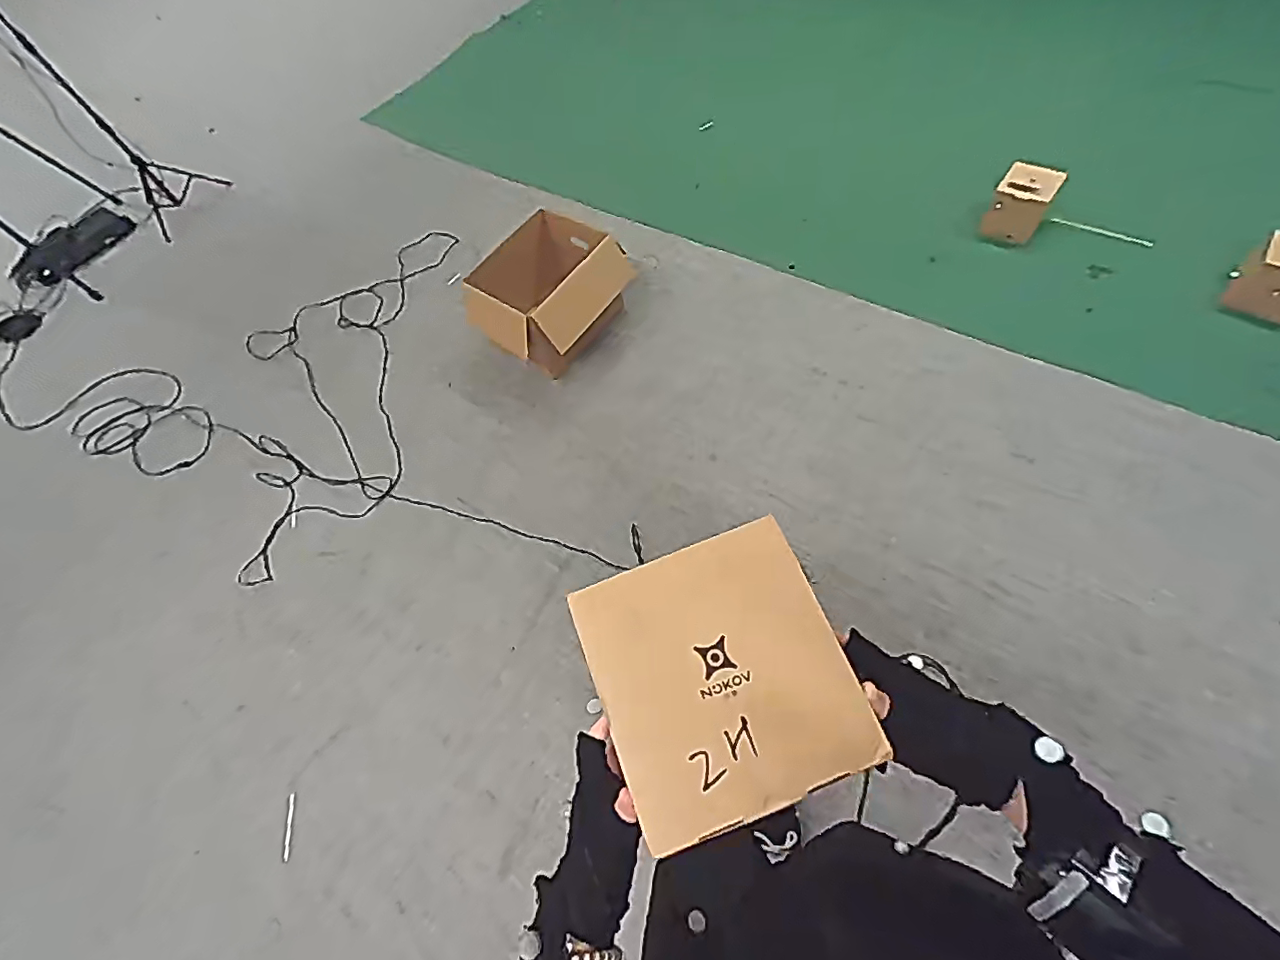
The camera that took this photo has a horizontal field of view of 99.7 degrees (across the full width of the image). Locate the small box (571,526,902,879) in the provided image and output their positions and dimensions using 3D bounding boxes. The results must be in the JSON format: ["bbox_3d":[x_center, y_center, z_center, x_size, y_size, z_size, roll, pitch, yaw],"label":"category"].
[{"bbox_3d":[0.060,0.163,0.426,0.168,0.176,0.179,-21,69,-3],"label":"small box"}]

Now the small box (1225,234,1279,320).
[{"bbox_3d":[1.892,-0.593,1.573,0.179,0.176,0.168,31,70,22],"label":"small box"}]
